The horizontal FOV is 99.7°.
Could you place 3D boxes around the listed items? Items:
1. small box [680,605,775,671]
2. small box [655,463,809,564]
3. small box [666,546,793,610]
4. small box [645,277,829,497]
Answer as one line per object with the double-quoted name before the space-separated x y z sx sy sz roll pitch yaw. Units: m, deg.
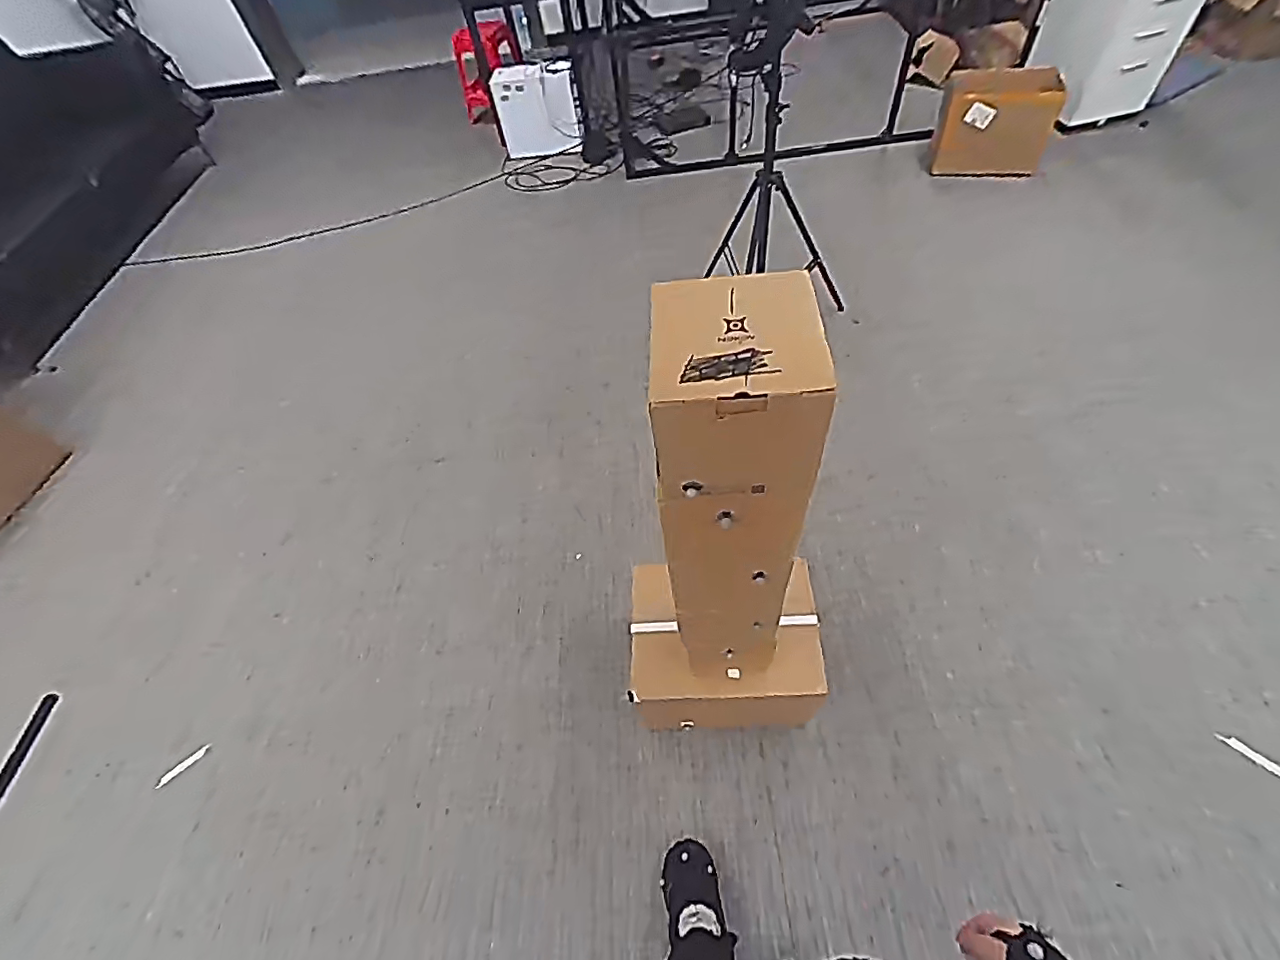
"small box" 0.172 0.288 1.118 0.179 0.176 0.168 -5 55 3
"small box" 0.114 0.004 0.722 0.179 0.176 0.168 -3 56 7
"small box" 0.133 0.098 0.853 0.179 0.176 0.168 -3 55 6
"small box" 0.098 -0.091 0.588 0.168 0.176 0.179 -3 55 6
